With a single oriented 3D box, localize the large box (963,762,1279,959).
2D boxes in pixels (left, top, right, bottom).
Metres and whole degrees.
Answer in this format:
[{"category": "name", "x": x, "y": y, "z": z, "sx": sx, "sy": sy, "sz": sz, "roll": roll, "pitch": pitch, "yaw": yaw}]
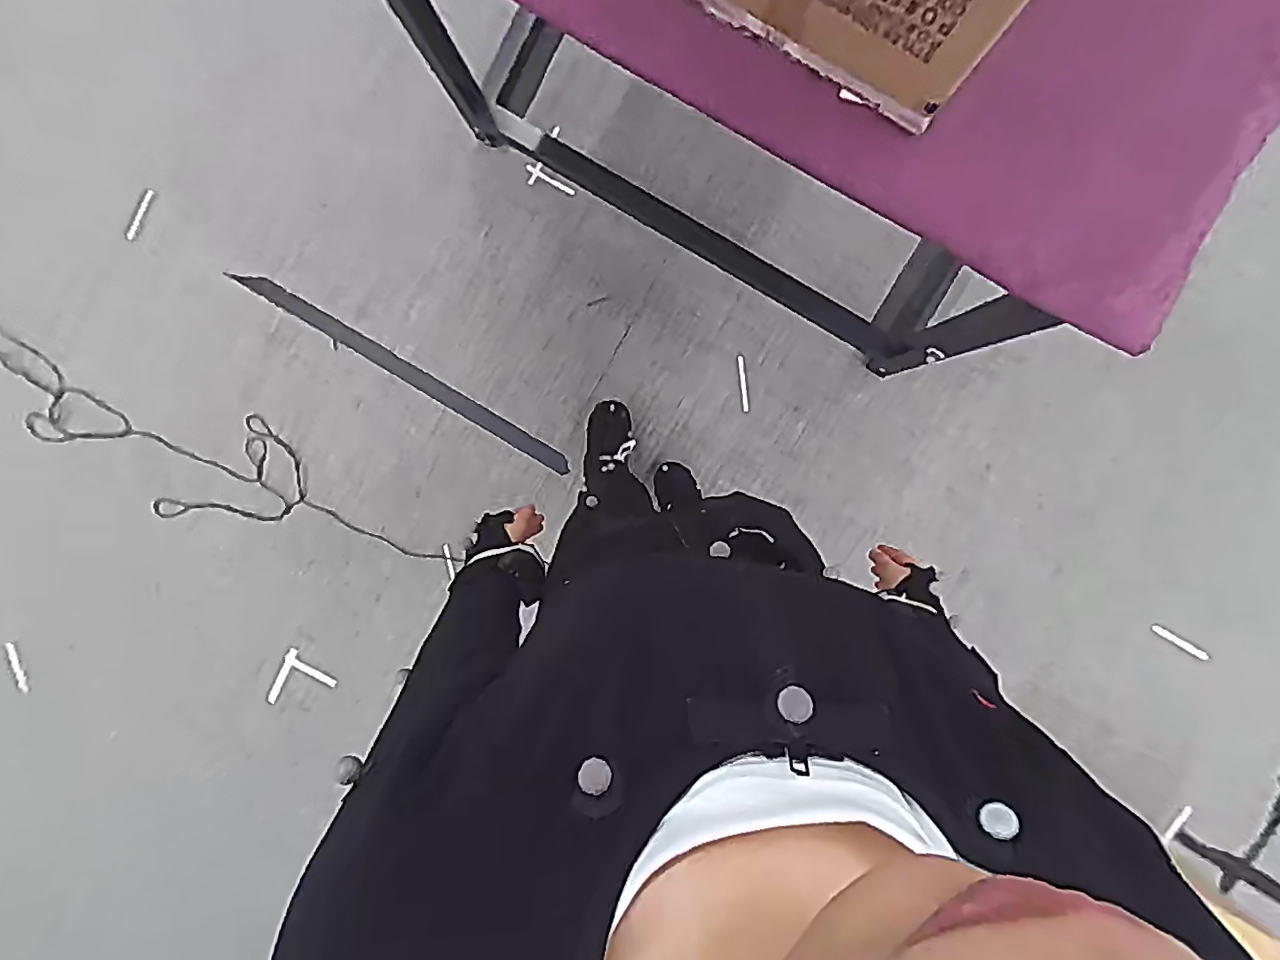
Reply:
[{"category": "large box", "x": 1.080, "y": 0.957, "z": 1.256, "sx": 0.408, "sy": 0.320, "sz": 0.320, "roll": 29, "pitch": 96, "yaw": 2}]
